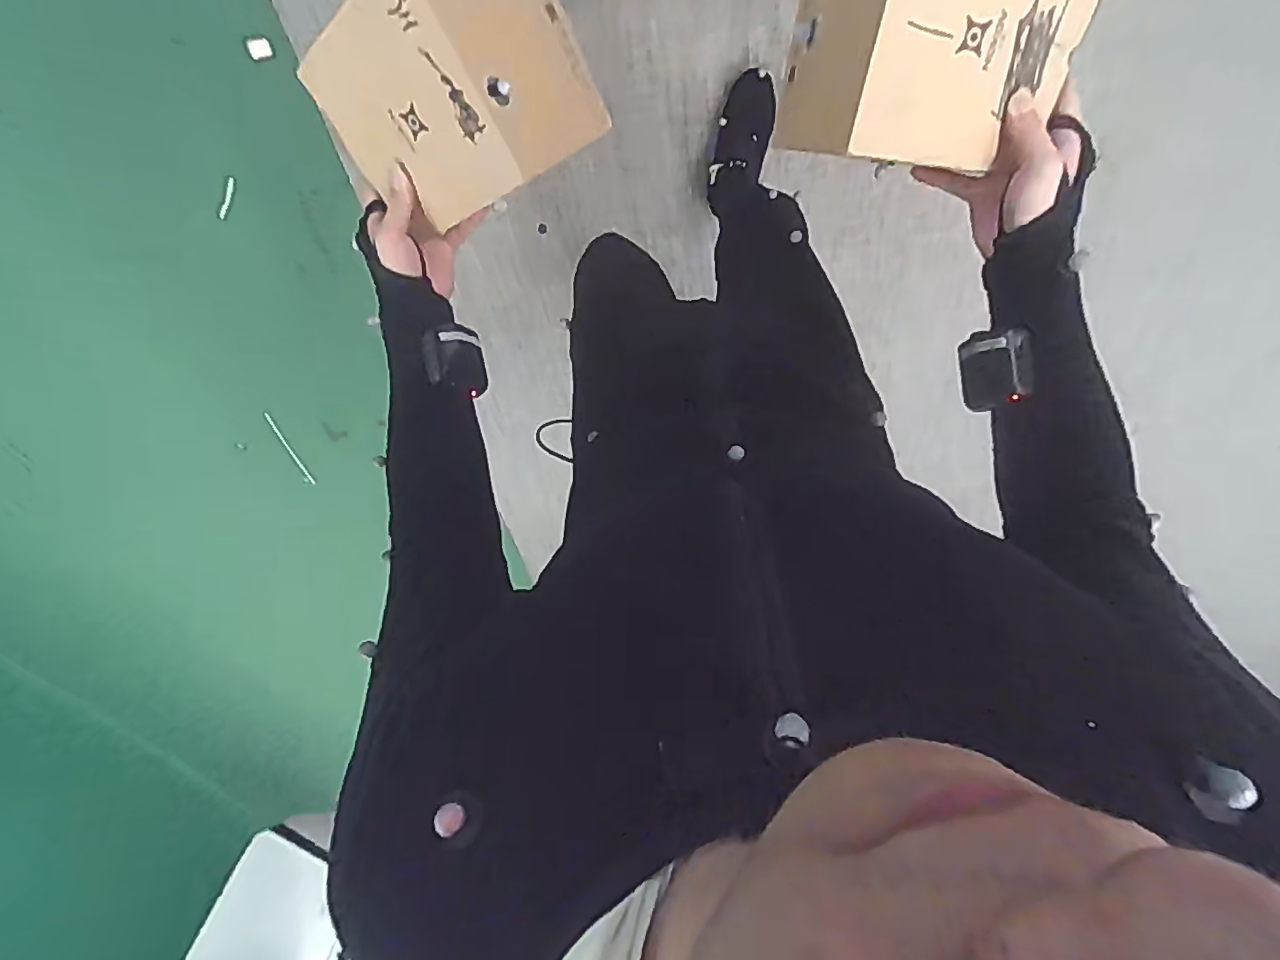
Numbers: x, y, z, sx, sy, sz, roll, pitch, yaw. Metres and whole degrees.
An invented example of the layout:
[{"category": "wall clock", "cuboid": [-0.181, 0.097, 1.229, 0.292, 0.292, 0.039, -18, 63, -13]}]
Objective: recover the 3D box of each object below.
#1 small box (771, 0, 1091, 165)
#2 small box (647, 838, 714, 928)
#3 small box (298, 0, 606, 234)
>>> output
[{"category": "small box", "cuboid": [0.237, -0.380, 0.468, 0.179, 0.176, 0.168, 1, 122, -9]}, {"category": "small box", "cuboid": [0.115, 1.134, 1.527, 0.168, 0.176, 0.179, -6, 128, 10]}, {"category": "small box", "cuboid": [-0.165, -0.367, 0.511, 0.179, 0.176, 0.168, -4, 130, 38]}]
